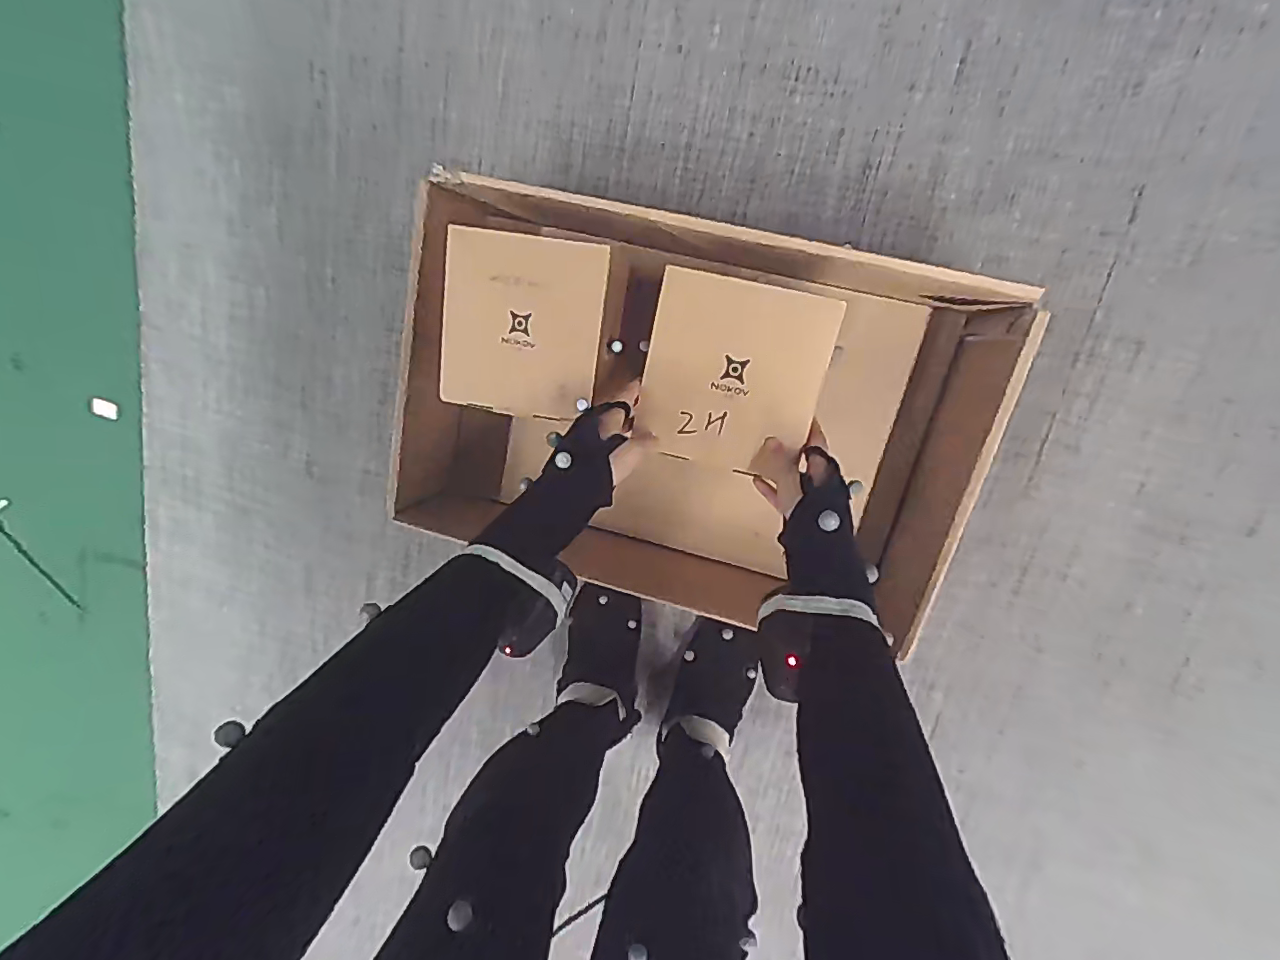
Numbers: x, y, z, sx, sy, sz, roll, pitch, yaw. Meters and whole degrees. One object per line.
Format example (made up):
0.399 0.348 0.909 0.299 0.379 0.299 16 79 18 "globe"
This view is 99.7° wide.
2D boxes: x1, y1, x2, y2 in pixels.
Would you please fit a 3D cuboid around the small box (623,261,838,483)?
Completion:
0.092 -0.117 0.579 0.168 0.176 0.179 15 107 7 "small box"
